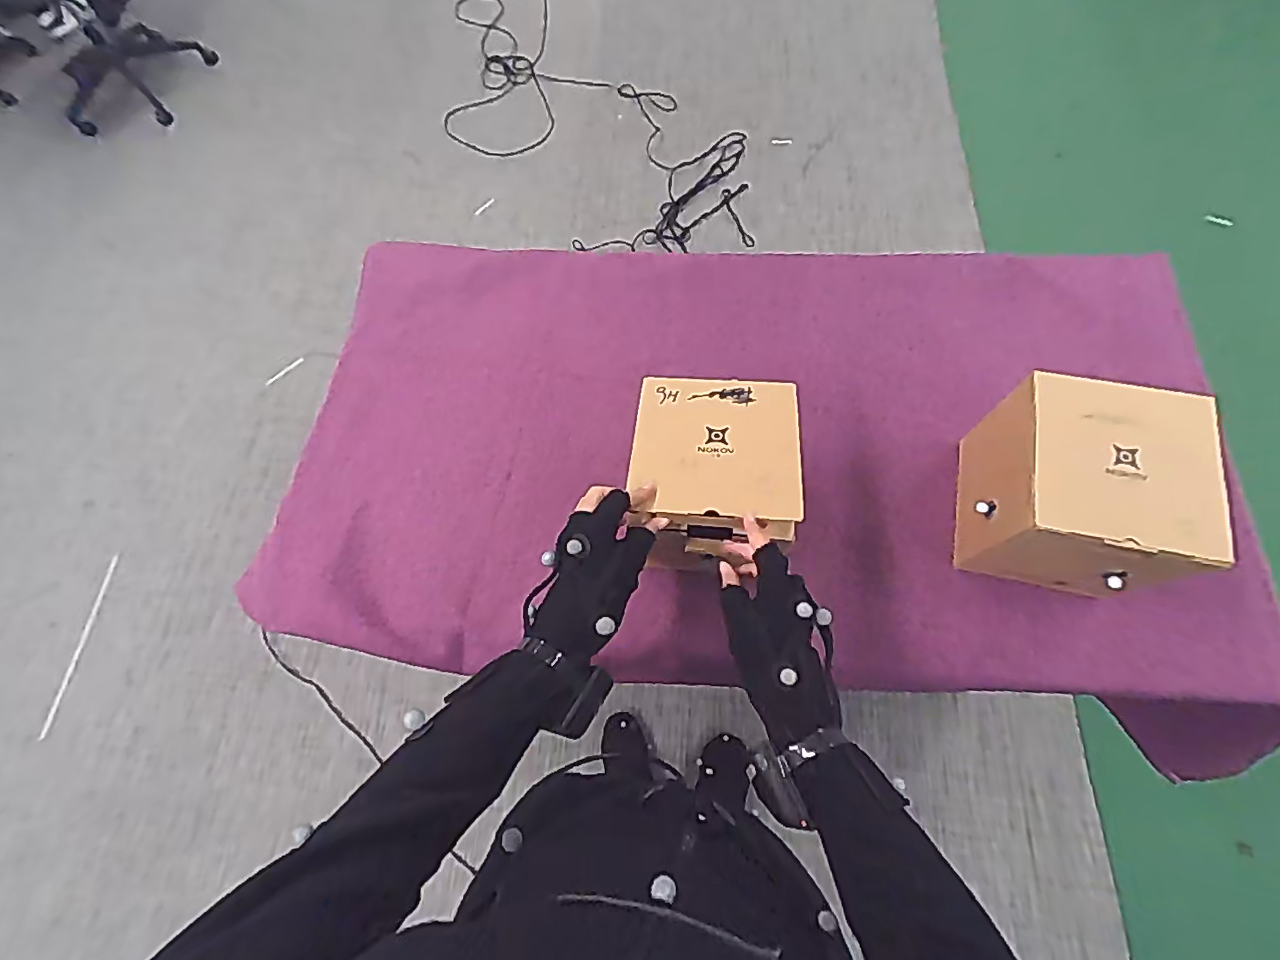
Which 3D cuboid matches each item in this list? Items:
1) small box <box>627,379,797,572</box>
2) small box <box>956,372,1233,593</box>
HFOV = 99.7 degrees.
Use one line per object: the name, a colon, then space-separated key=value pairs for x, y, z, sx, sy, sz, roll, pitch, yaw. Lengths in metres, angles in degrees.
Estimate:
small box: x=0.084 y=0.003 z=0.628 sx=0.168 sy=0.176 sz=0.179 roll=4 pitch=69 yaw=7
small box: x=0.468 y=0.012 z=0.588 sx=0.168 sy=0.176 sz=0.179 roll=12 pitch=69 yaw=10
